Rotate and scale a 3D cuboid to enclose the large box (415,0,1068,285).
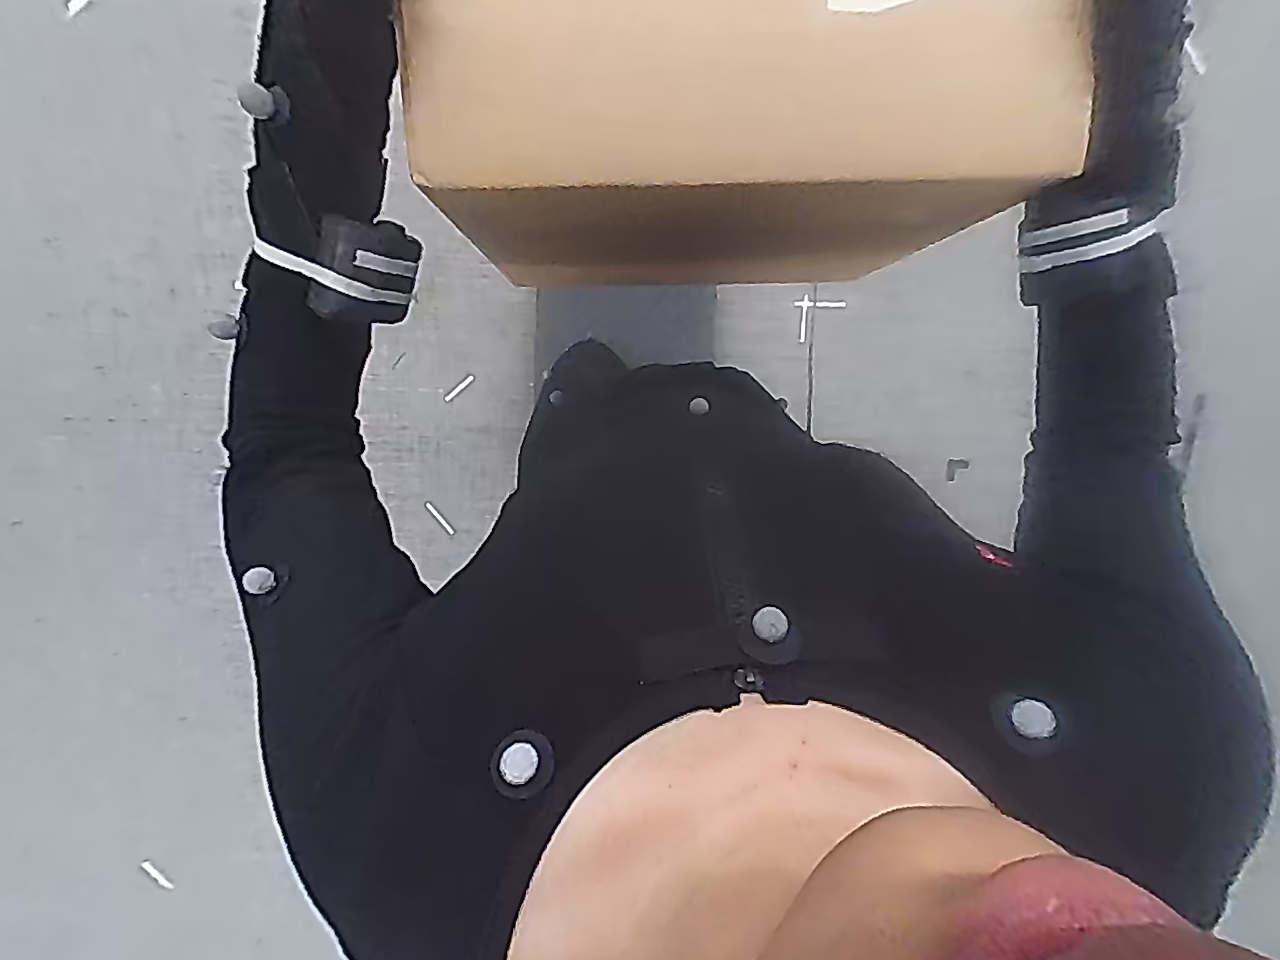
[{"bbox_3d":[0.054,-0.364,0.463,0.408,0.320,0.320,-2,99,-3],"label":"large box"}]
